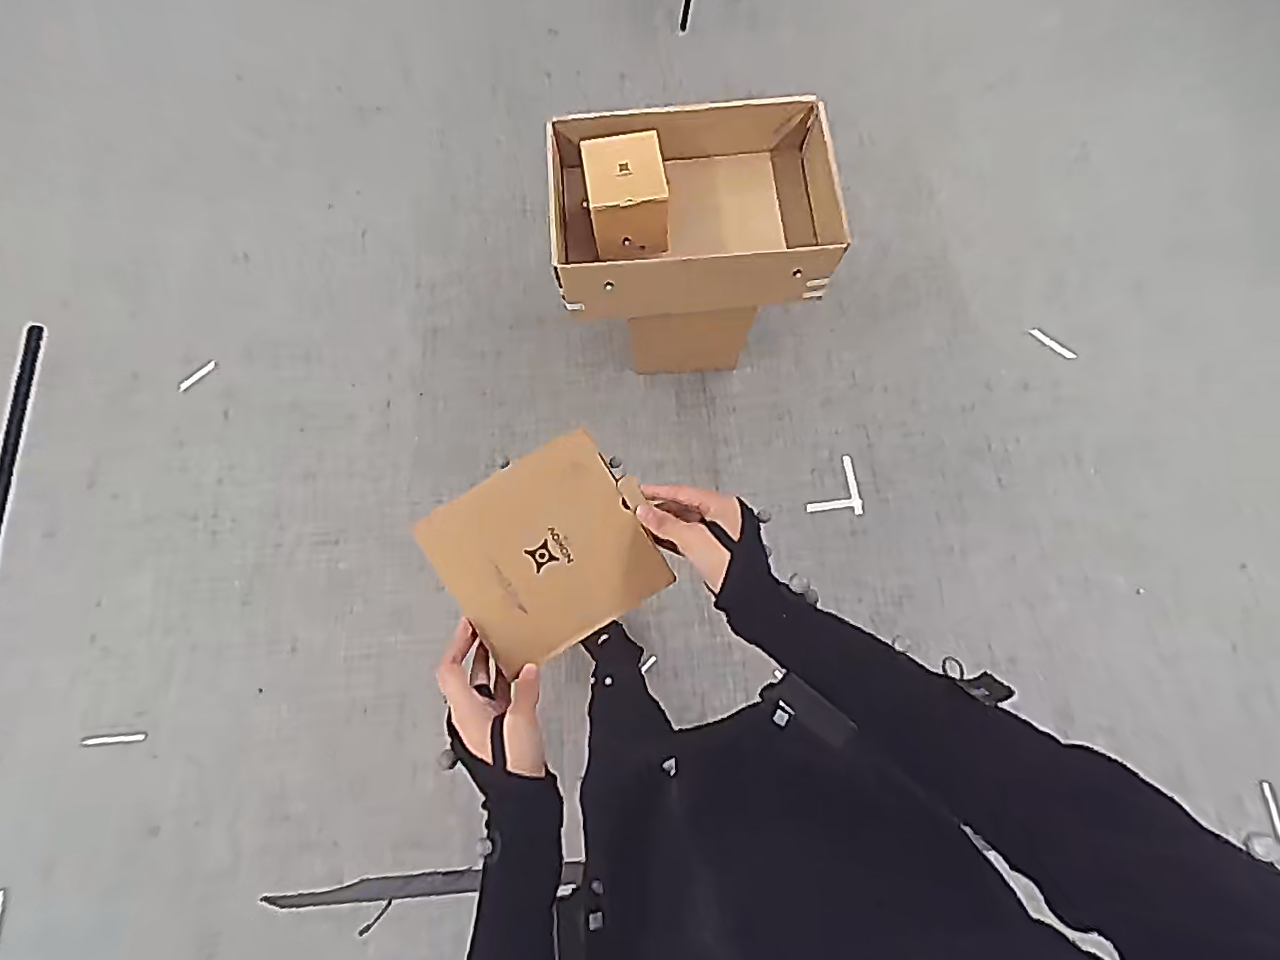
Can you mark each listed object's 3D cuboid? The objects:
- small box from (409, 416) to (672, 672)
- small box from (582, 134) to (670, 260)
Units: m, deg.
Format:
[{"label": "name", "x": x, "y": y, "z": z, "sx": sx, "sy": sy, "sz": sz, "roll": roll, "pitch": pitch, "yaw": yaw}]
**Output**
[{"label": "small box", "x": -0.091, "y": 0.052, "z": 0.547, "sx": 0.179, "sy": 0.176, "sz": 0.168, "roll": -31, "pitch": 93, "yaw": -3}, {"label": "small box", "x": -0.031, "y": -0.624, "z": 1.205, "sx": 0.168, "sy": 0.176, "sz": 0.179, "roll": -9, "pitch": 76, "yaw": -1}]
